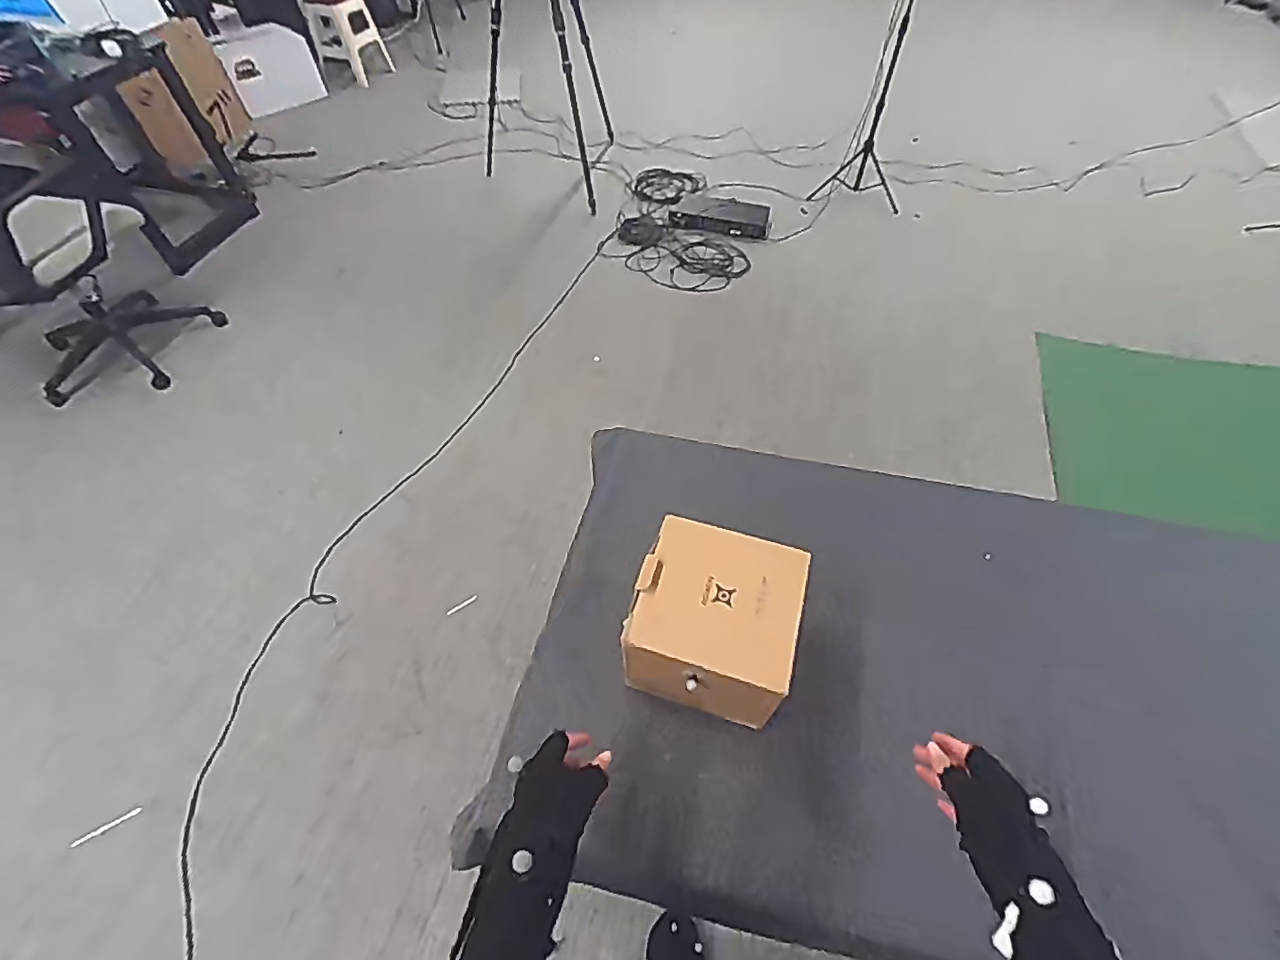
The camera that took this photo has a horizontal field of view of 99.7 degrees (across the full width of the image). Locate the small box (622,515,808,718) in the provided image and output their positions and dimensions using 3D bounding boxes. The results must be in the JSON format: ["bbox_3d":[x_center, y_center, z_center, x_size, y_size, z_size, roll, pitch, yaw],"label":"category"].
[{"bbox_3d":[0.087,0.171,0.659,0.179,0.176,0.168,15,57,10],"label":"small box"}]
